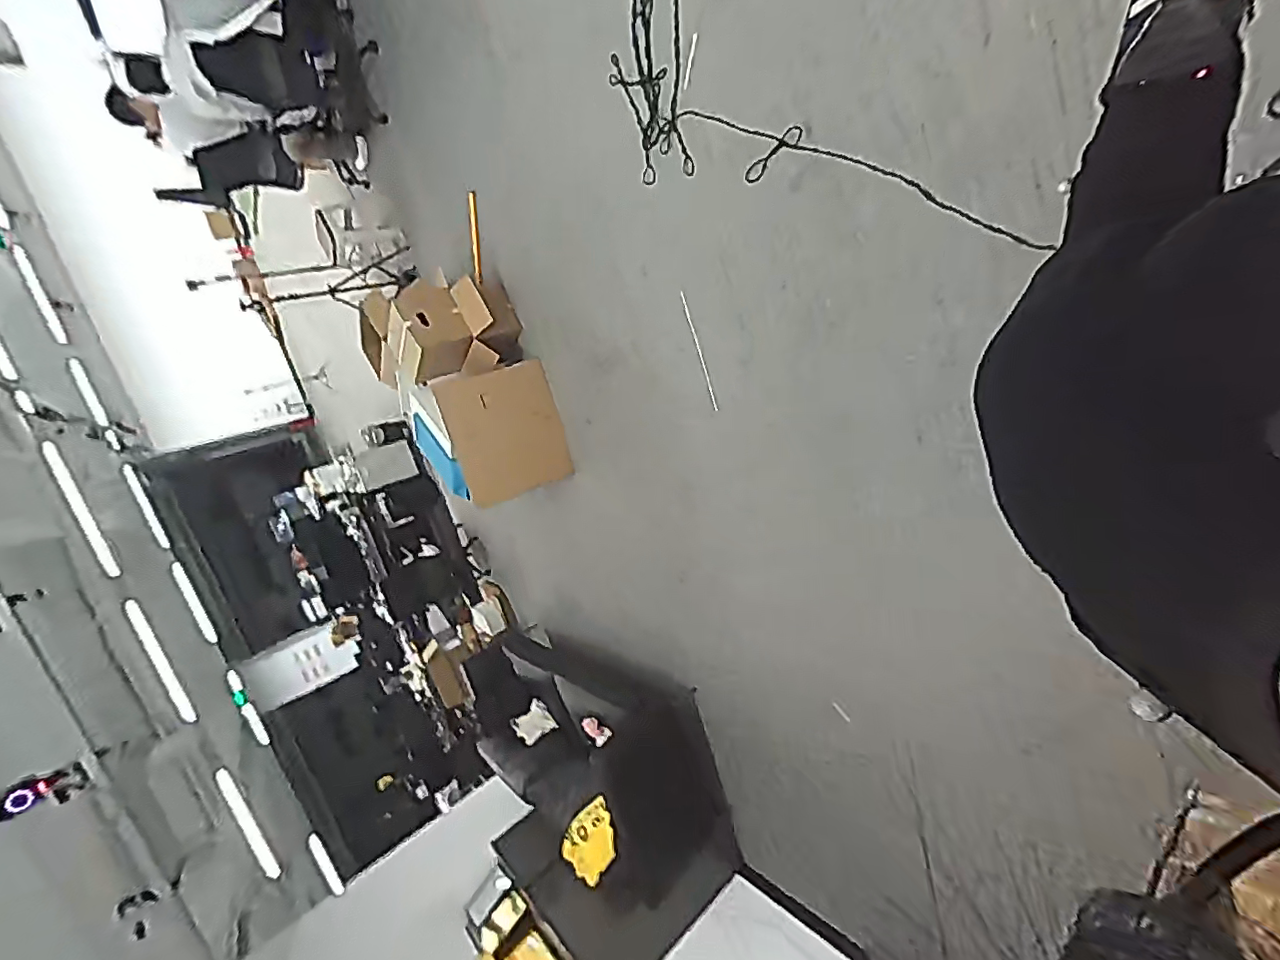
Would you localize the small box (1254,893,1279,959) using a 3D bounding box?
[{"bbox_3d":[1.087,0.804,0.837,0.168,0.176,0.179,14,120,48],"label":"small box"}]
